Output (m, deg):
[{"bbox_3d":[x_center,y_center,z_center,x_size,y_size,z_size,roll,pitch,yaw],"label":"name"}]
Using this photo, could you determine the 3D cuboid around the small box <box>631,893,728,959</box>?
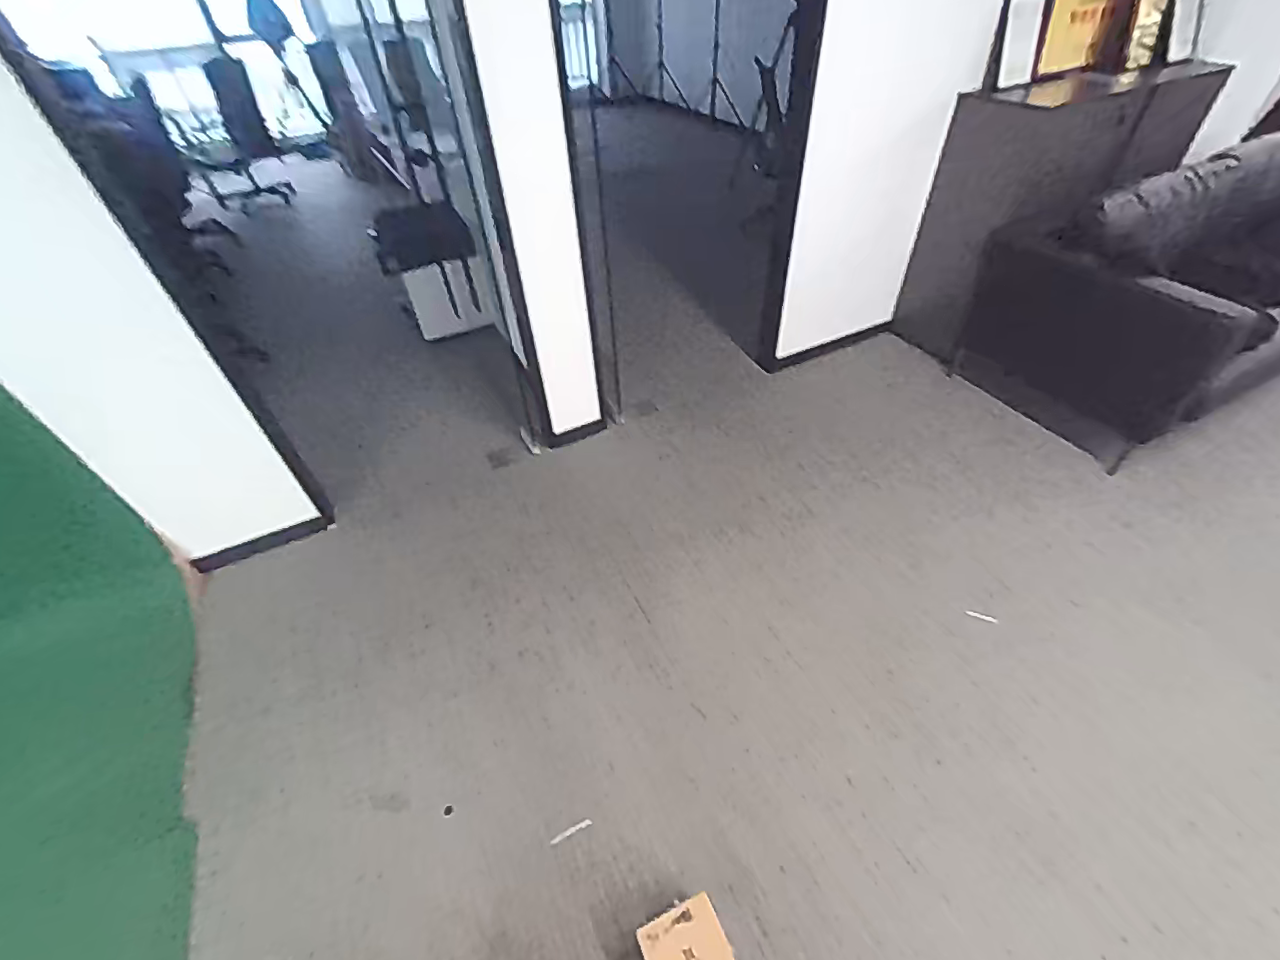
[{"bbox_3d":[0.091,1.006,1.124,0.168,0.176,0.179,-18,47,-15],"label":"small box"}]
